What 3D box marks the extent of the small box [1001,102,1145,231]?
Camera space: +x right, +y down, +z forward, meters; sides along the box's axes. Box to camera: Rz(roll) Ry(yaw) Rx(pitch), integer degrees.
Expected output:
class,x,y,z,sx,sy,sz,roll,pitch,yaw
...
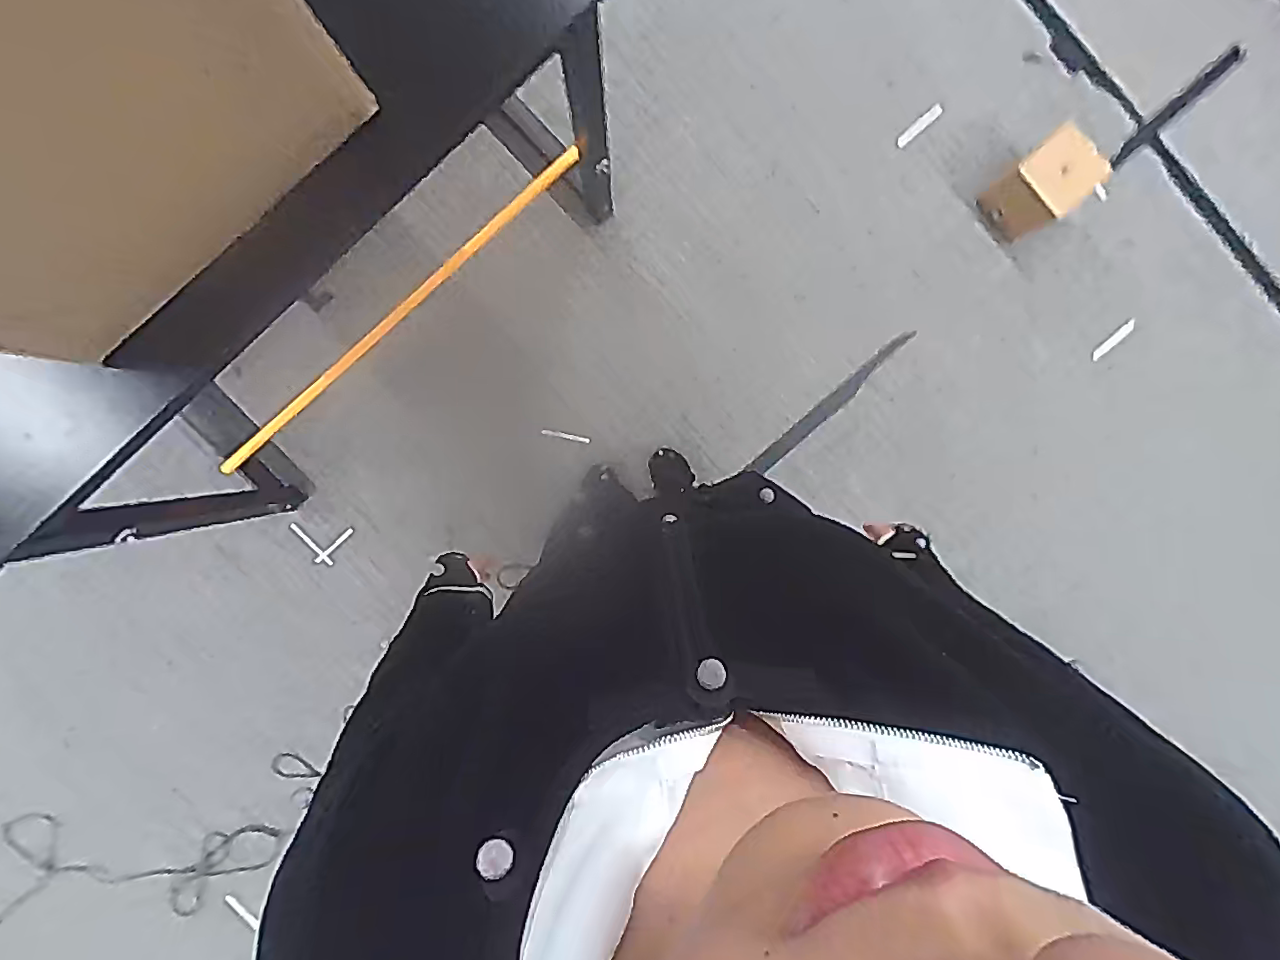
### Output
class,x,y,z,sx,sy,sz,roll,pitch,yaw
small box,1.036,-0.748,1.311,0.179,0.176,0.168,-44,93,3
